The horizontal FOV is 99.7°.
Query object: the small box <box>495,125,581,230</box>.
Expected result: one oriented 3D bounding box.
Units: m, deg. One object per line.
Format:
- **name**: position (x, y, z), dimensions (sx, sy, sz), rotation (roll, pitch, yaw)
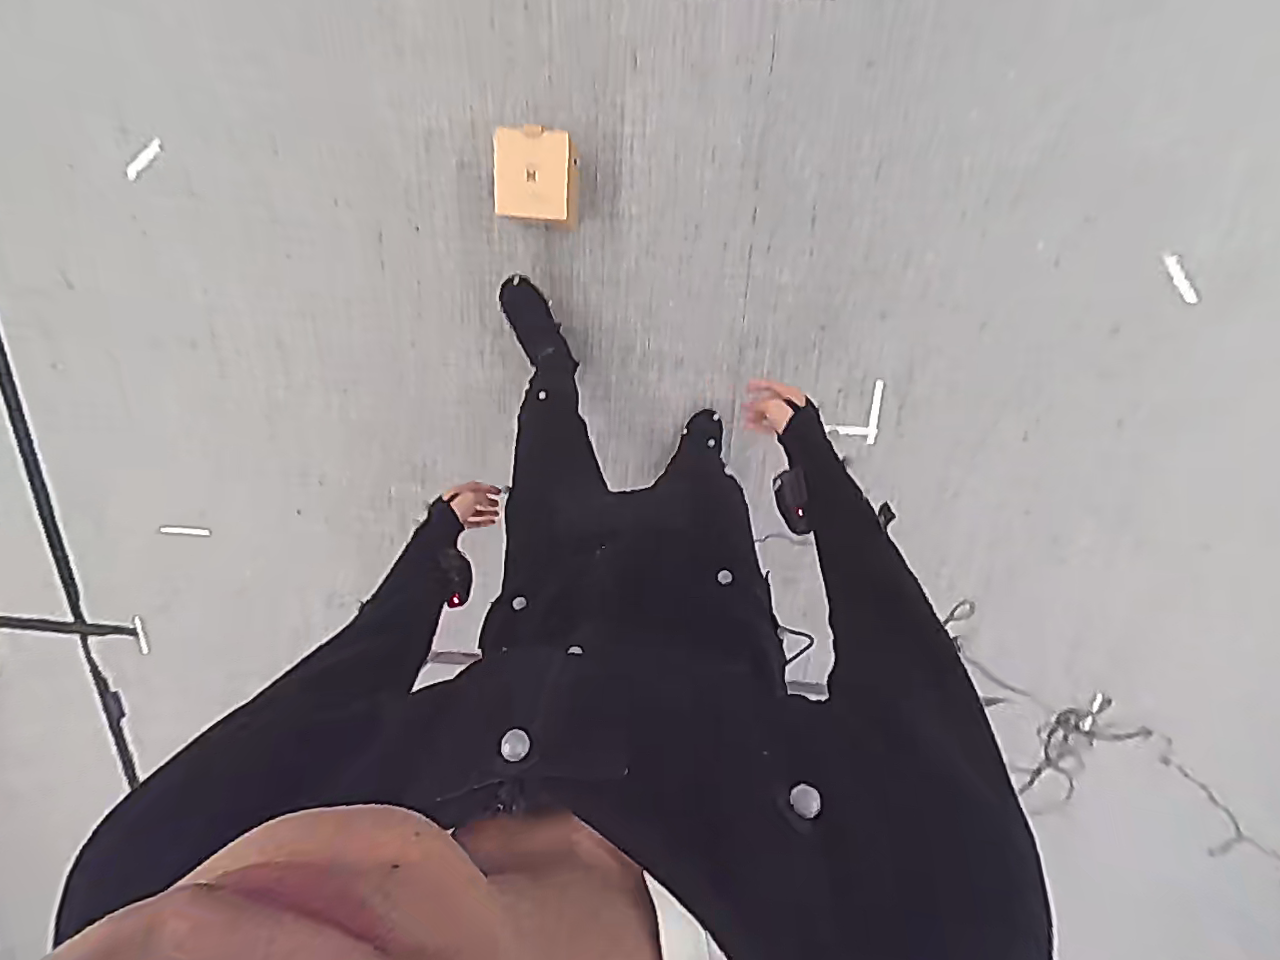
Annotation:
- **small box**: position (-0.231, -0.691, 1.251), dimensions (0.168, 0.176, 0.179), rotation (5, 108, 2)
